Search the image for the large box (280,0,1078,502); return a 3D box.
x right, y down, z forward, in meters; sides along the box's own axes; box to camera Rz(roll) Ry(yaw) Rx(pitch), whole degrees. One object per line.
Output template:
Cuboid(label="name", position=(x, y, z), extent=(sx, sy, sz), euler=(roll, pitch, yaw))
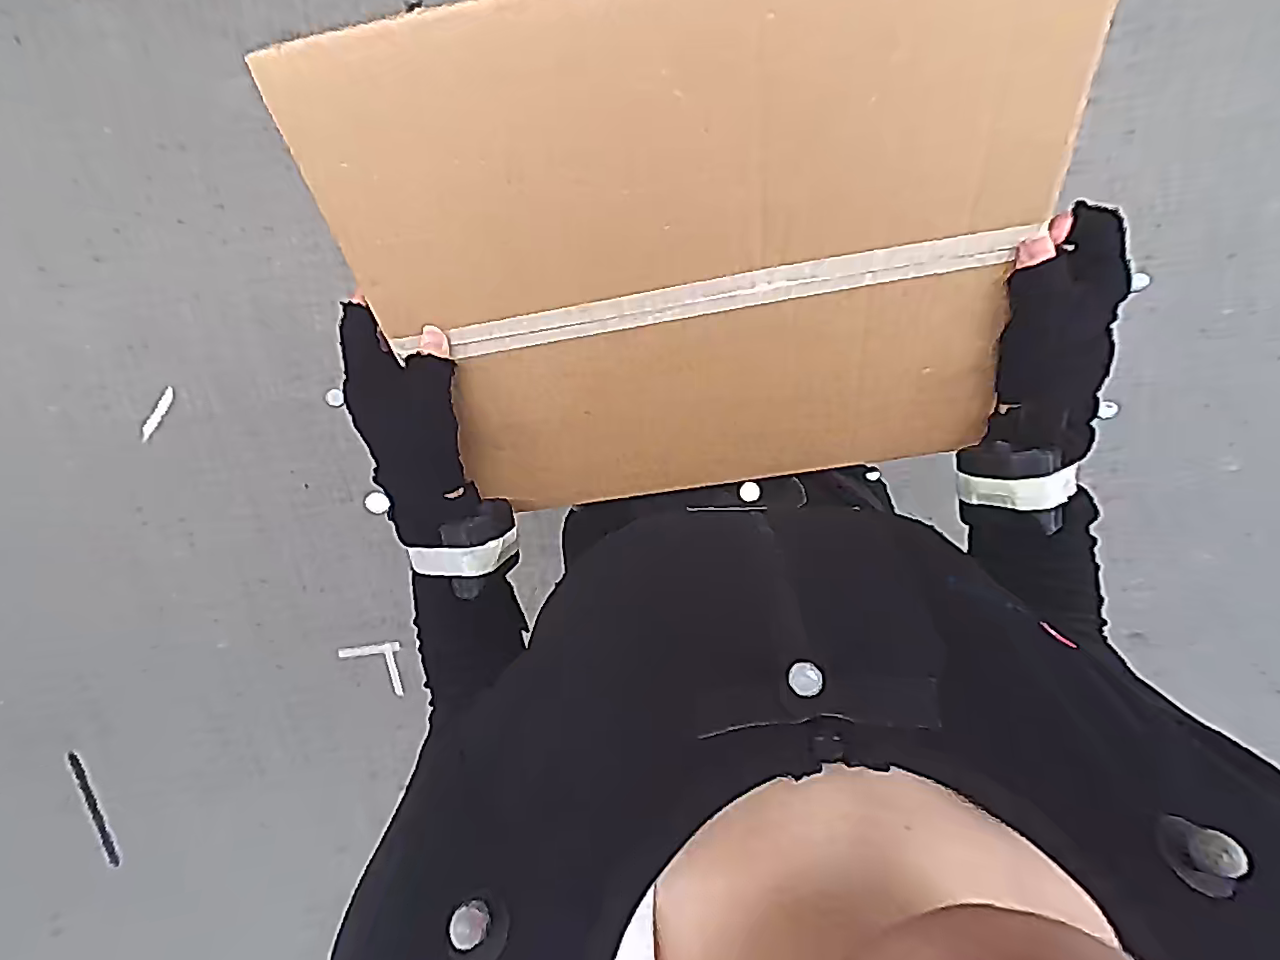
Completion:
Cuboid(label="large box", position=(0.030, -0.219, 0.461), extent=(0.408, 0.320, 0.320), euler=(-8, 131, 5))
